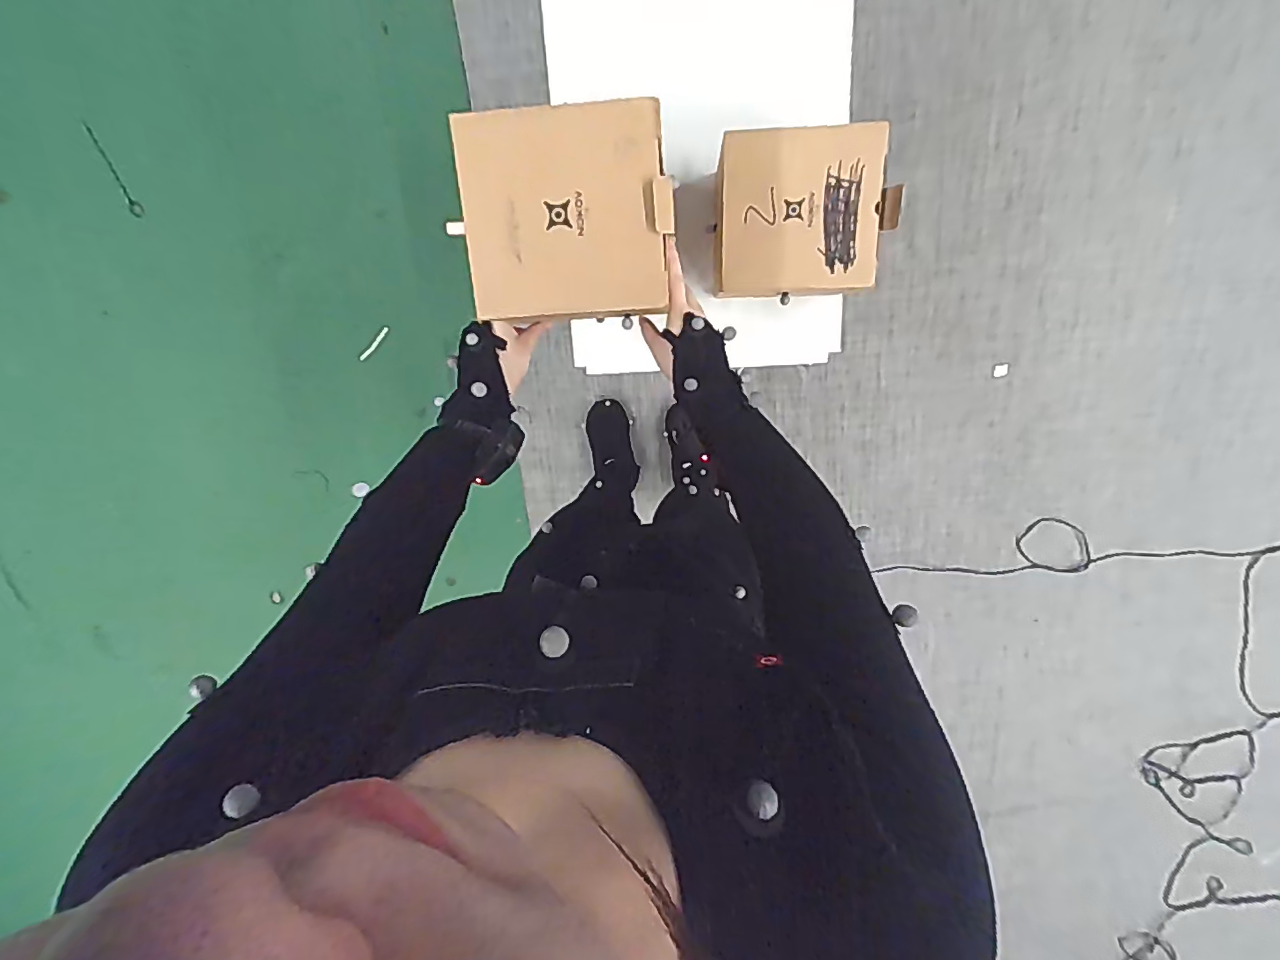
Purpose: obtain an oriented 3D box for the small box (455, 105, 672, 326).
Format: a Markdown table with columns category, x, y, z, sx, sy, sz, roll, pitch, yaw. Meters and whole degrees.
| category | x | y | z | sx | sy | sz | roll | pitch | yaw |
| --- | --- | --- | --- | --- | --- | --- | --- | --- | --- |
| small box | -0.060 | -0.244 | 0.541 | 0.179 | 0.176 | 0.168 | -3 | 104 | 4 |
